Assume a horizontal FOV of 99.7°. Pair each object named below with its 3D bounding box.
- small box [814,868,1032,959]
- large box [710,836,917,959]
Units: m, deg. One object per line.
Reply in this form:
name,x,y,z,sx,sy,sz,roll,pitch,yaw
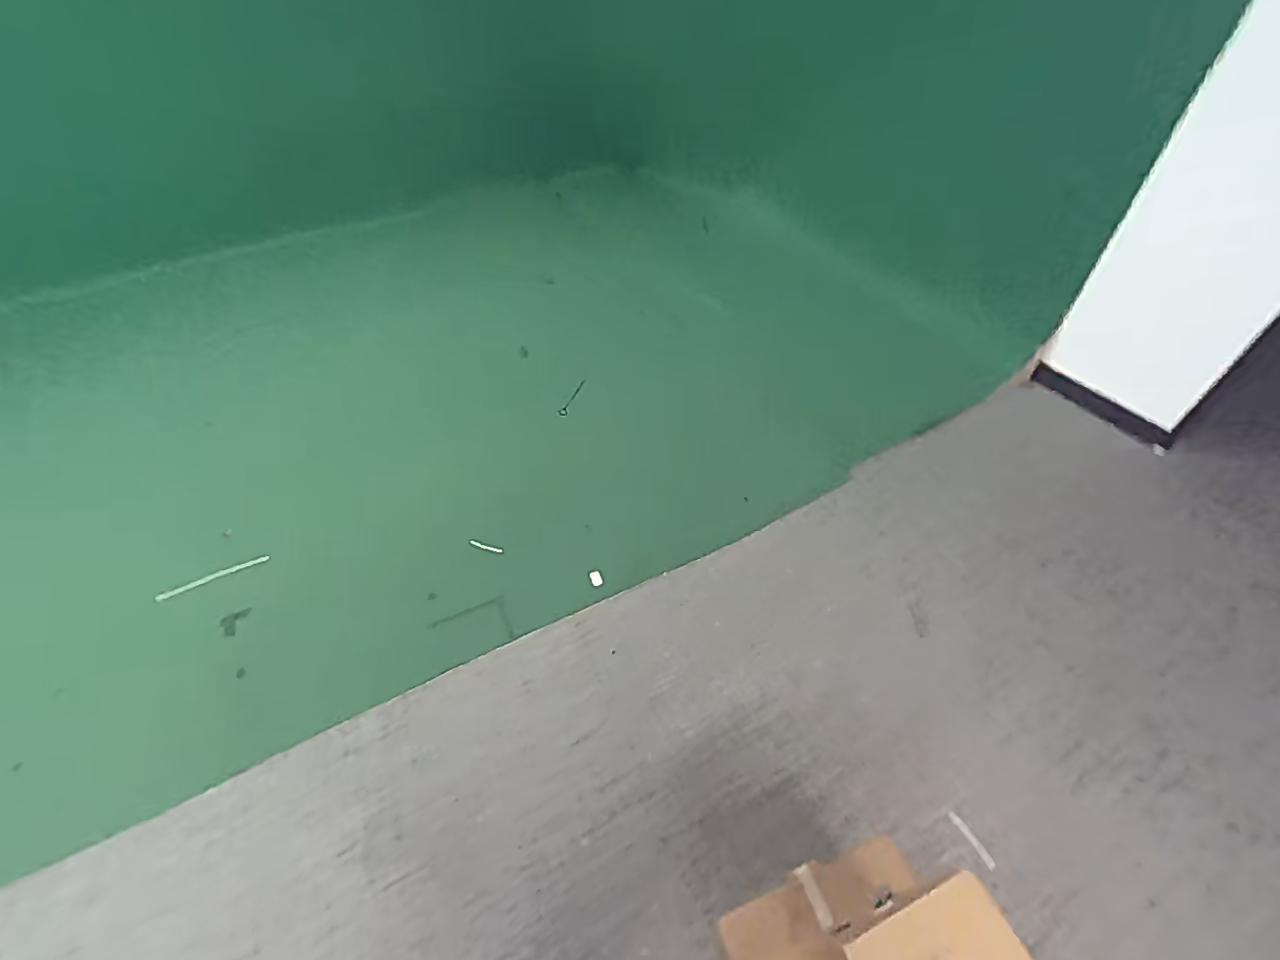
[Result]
small box,0.309,0.545,0.559,0.168,0.176,0.179,-19,49,-14
large box,0.337,0.851,0.830,0.320,0.320,0.408,-18,50,-11
